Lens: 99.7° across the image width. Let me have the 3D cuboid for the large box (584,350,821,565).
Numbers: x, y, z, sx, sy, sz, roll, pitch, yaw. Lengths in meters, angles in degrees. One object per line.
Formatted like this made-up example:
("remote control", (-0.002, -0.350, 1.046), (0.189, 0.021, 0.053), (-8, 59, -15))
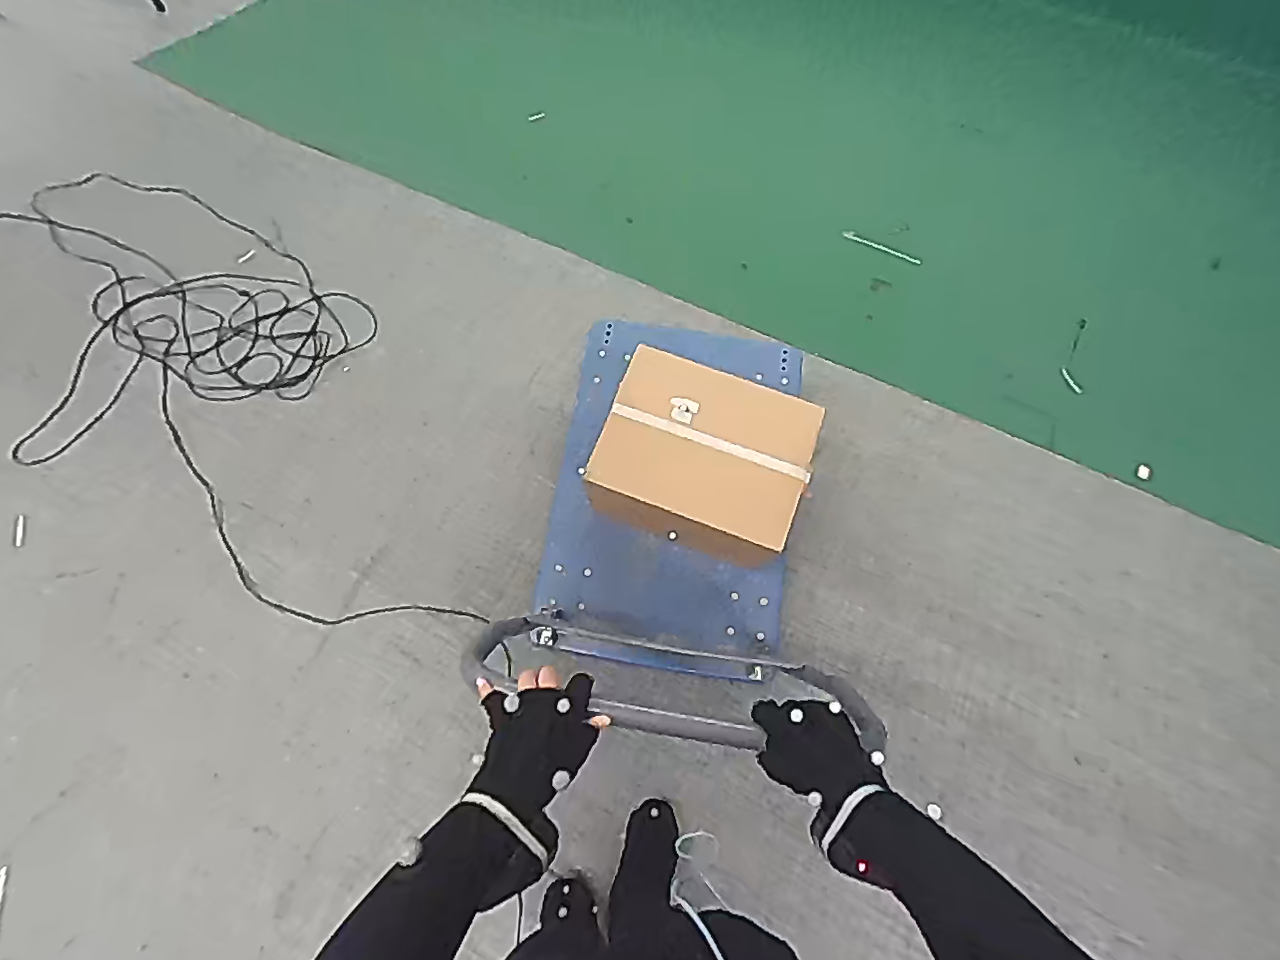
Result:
("large box", (0.130, -0.030, 1.204), (0.408, 0.320, 0.320), (20, 75, 6))
